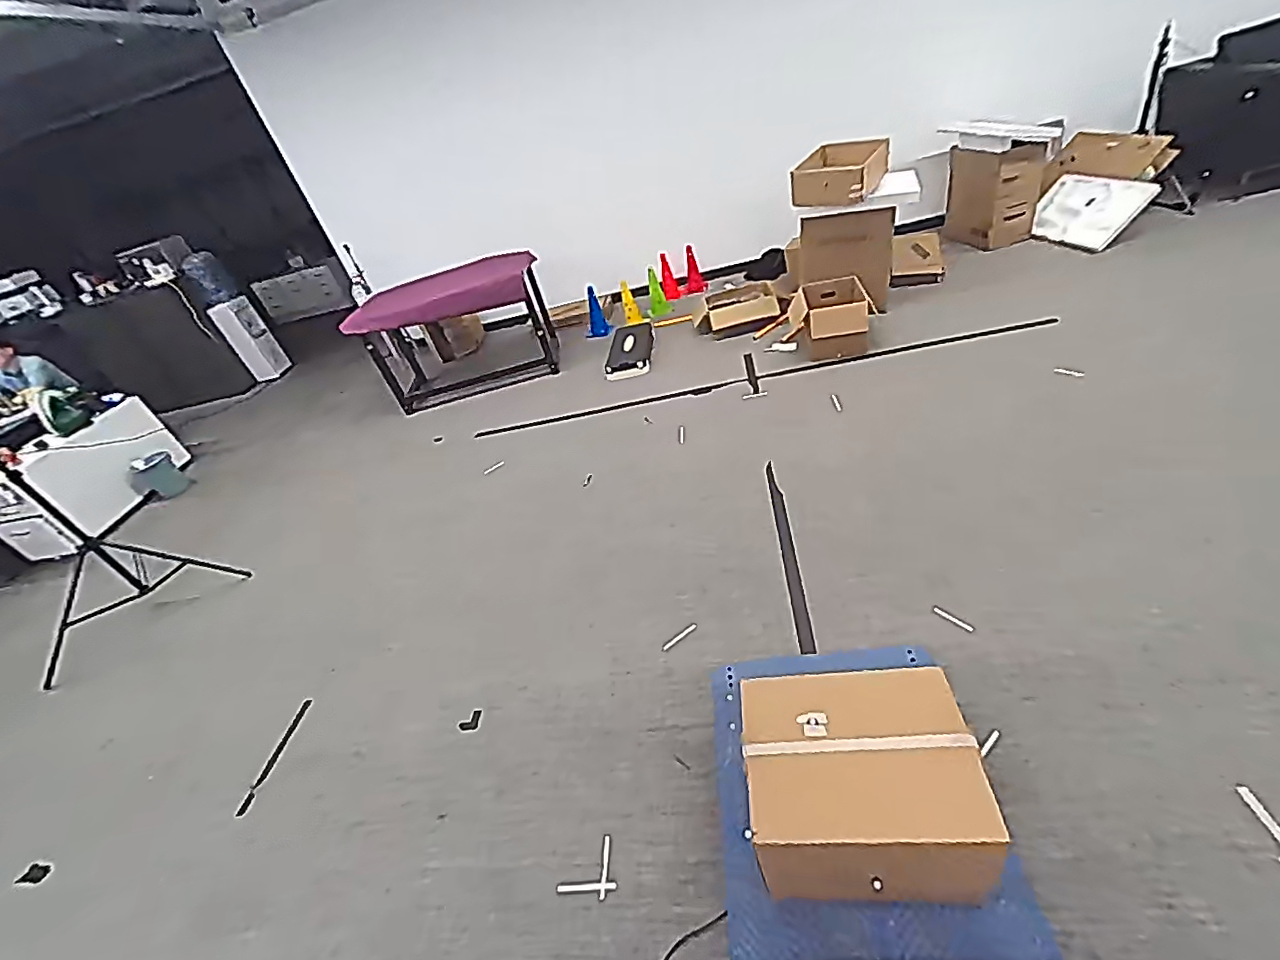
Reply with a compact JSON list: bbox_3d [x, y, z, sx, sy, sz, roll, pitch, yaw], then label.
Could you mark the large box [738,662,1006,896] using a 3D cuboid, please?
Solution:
[{"bbox_3d":[0.430,0.603,1.082,0.408,0.320,0.320,-10,36,13],"label":"large box"}]
